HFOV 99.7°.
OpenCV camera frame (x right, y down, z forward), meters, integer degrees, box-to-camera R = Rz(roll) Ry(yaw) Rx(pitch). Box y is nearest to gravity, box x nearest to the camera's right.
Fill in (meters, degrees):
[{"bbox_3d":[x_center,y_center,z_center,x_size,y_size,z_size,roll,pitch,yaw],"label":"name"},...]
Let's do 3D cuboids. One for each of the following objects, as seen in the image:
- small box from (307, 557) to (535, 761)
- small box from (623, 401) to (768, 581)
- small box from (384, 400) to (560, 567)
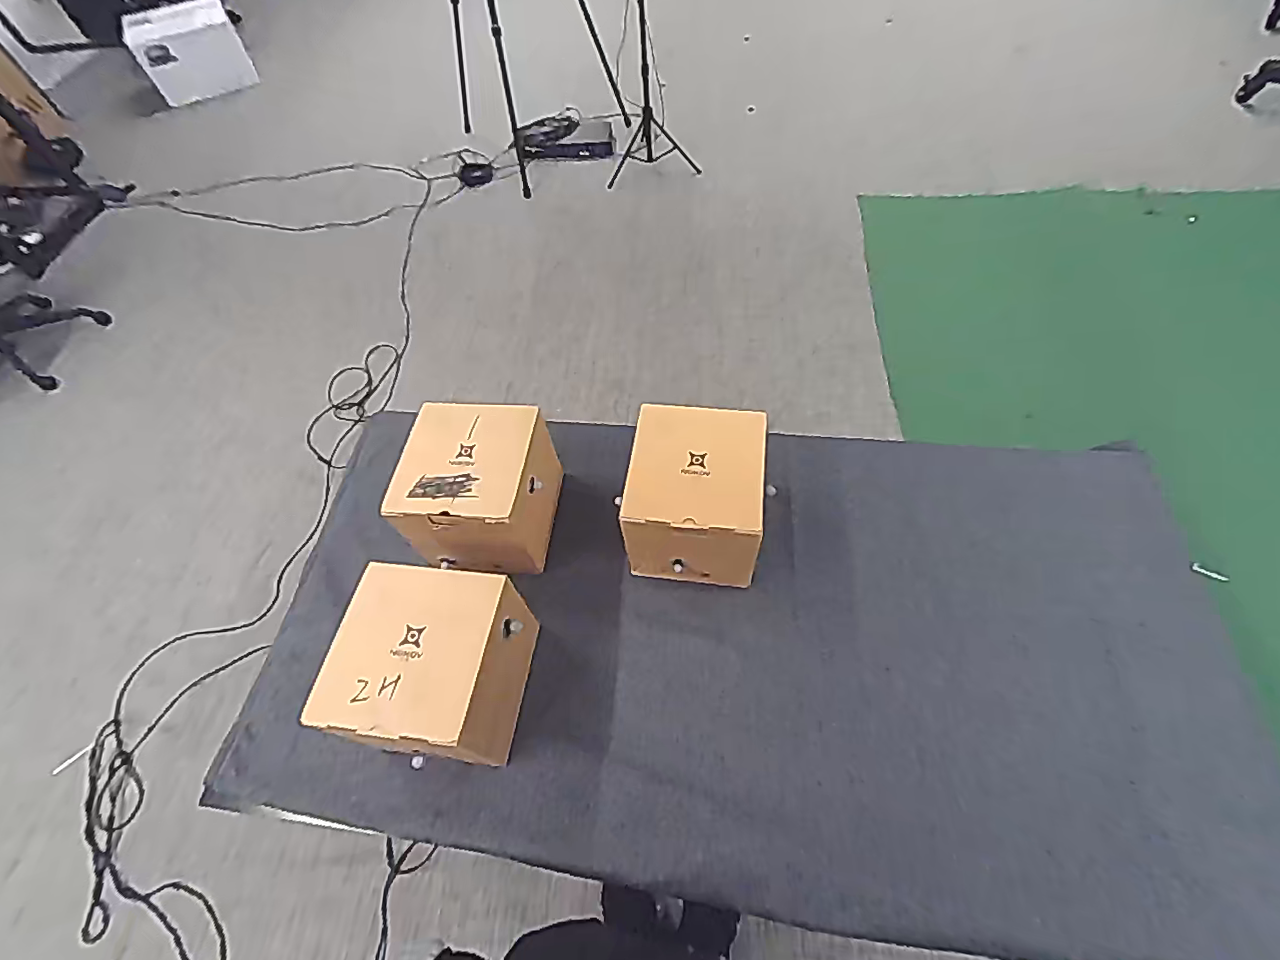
[{"bbox_3d":[-0.231,0.211,0.629,0.168,0.176,0.179,5,57,7],"label":"small box"},{"bbox_3d":[0.076,0.018,0.729,0.168,0.176,0.179,5,60,8],"label":"small box"},{"bbox_3d":[-0.216,0.010,0.754,0.168,0.176,0.179,3,58,6],"label":"small box"}]
